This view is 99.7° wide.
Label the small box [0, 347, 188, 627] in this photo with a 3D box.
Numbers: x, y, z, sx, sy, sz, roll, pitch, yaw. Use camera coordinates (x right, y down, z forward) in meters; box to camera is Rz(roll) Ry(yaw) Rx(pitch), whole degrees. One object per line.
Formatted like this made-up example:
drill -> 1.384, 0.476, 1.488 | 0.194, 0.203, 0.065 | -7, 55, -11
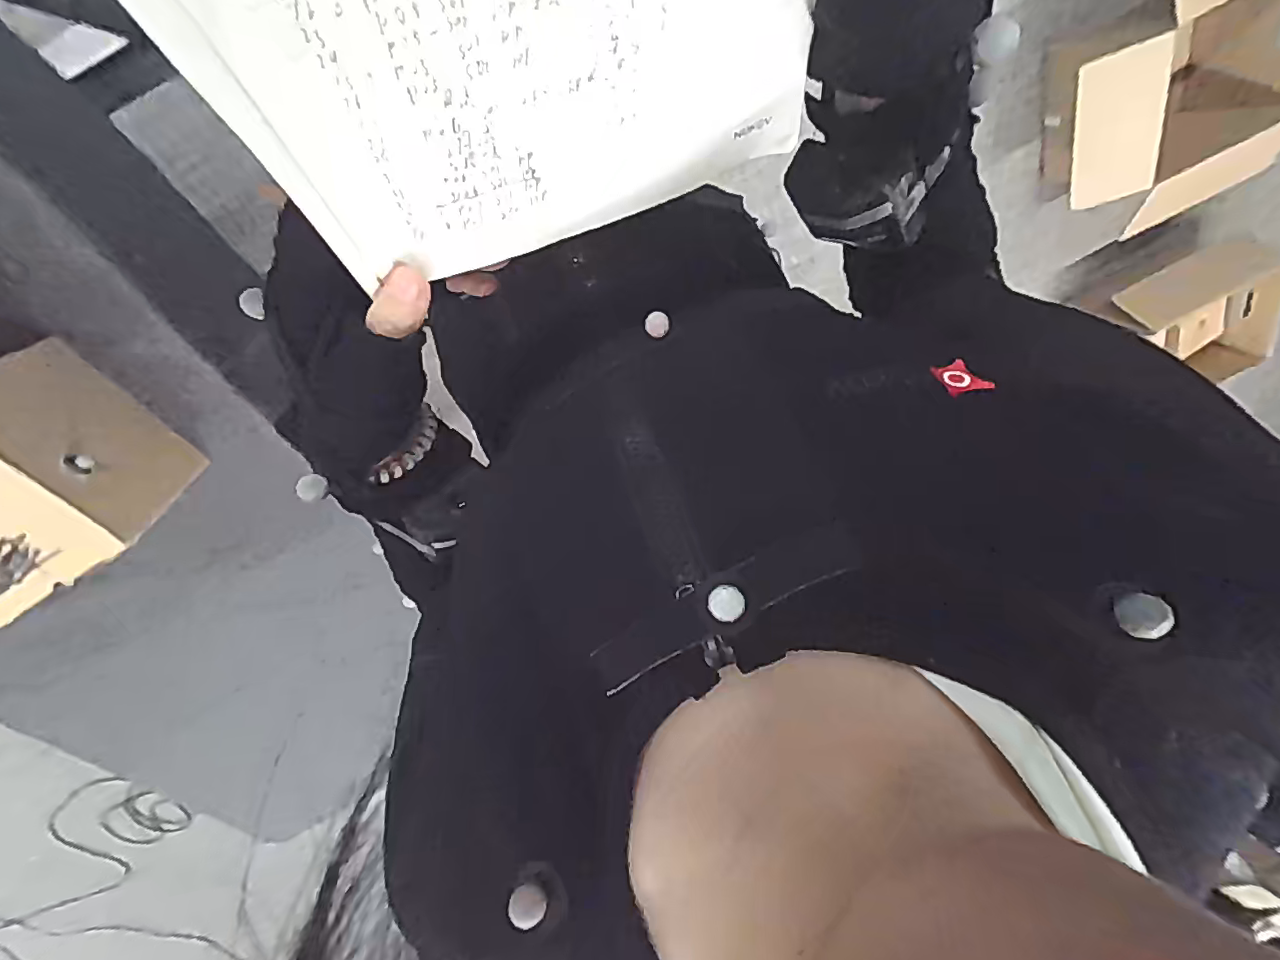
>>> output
small box -> -0.592, 0.005, 0.507 | 0.168, 0.176, 0.179 | -31, 123, 4
